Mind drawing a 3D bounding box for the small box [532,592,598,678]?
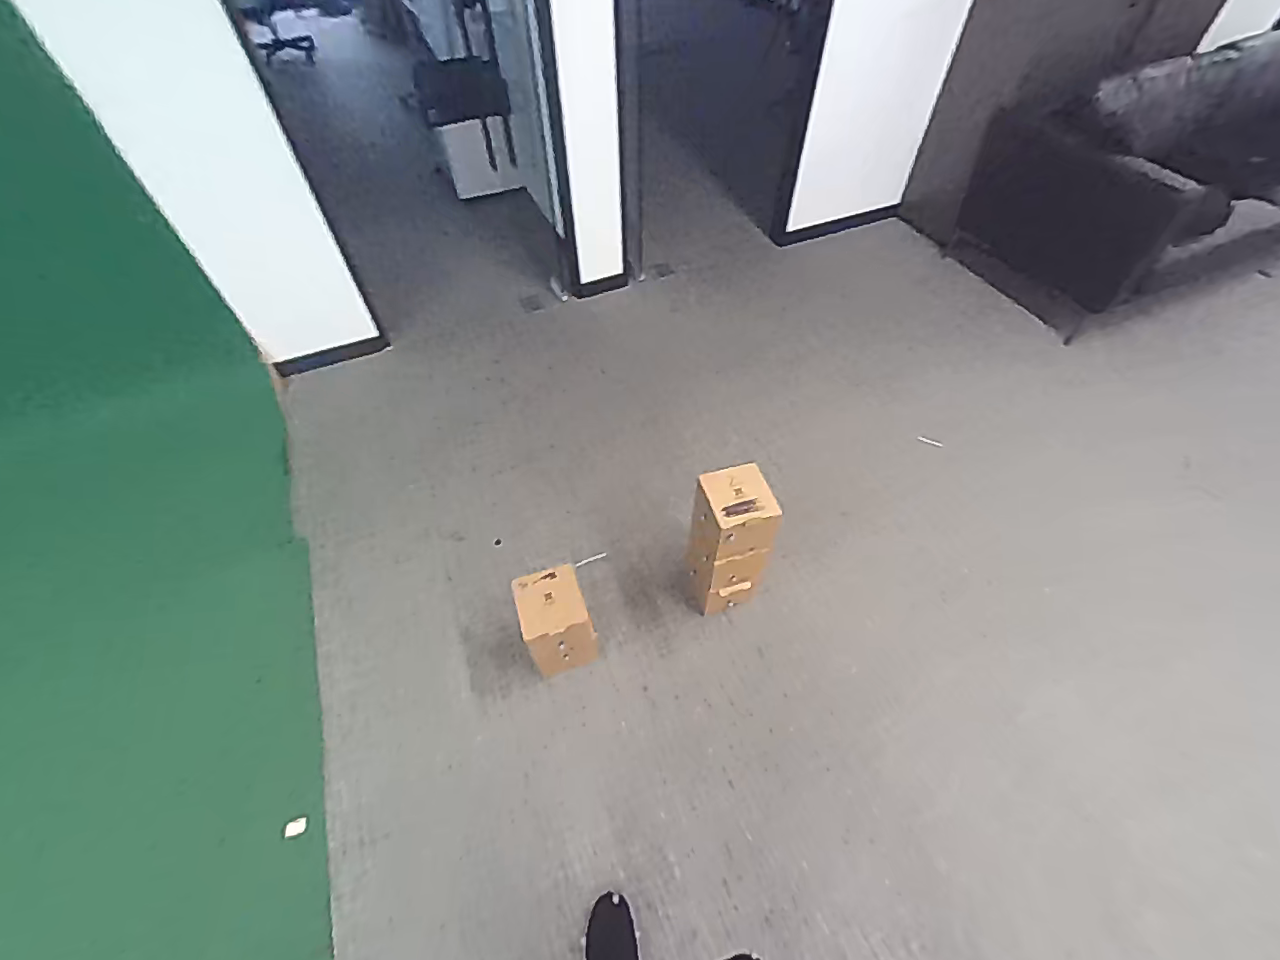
[{"bbox_3d":[-0.230,0.457,1.578,0.179,0.176,0.168,-15,54,-11],"label":"small box"}]

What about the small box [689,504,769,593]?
[{"bbox_3d":[0.249,0.200,1.565,0.168,0.176,0.179,-14,54,-11],"label":"small box"}]

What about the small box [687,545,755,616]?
[{"bbox_3d":[0.245,0.302,1.689,0.168,0.176,0.179,-11,54,-5],"label":"small box"}]

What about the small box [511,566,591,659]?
[{"bbox_3d":[-0.234,0.362,1.444,0.168,0.176,0.179,-15,55,-11],"label":"small box"}]
